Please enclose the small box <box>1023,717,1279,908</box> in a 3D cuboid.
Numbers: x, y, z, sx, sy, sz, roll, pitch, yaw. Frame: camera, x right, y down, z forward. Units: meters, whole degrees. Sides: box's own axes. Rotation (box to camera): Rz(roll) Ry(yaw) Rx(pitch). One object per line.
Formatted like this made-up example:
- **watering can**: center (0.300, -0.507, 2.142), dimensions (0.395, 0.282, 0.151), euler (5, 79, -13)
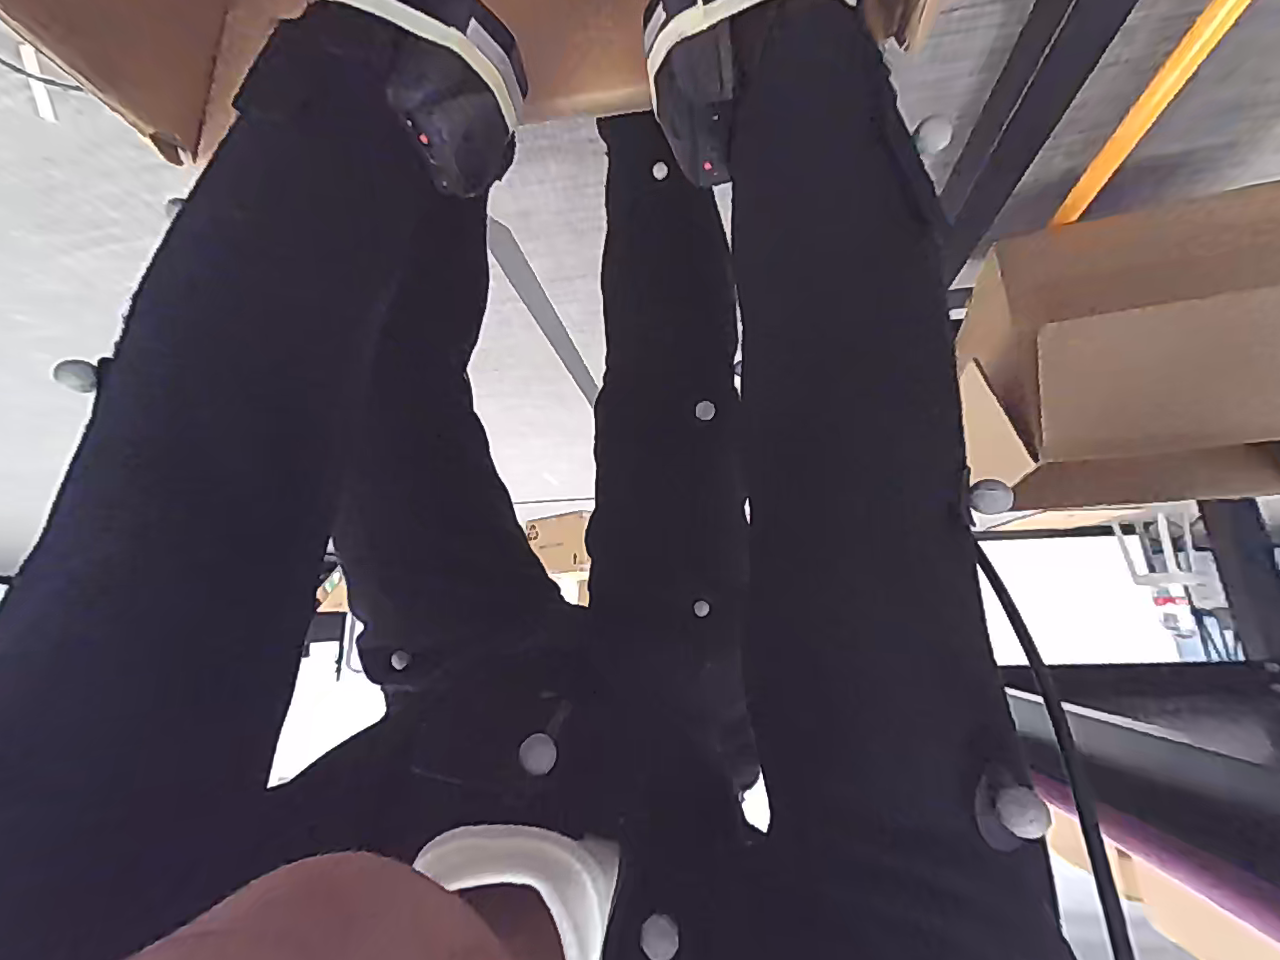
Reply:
- **small box**: center (0.639, 0.406, 0.691), dimensions (0.179, 0.176, 0.168), euler (-4, 165, 6)
